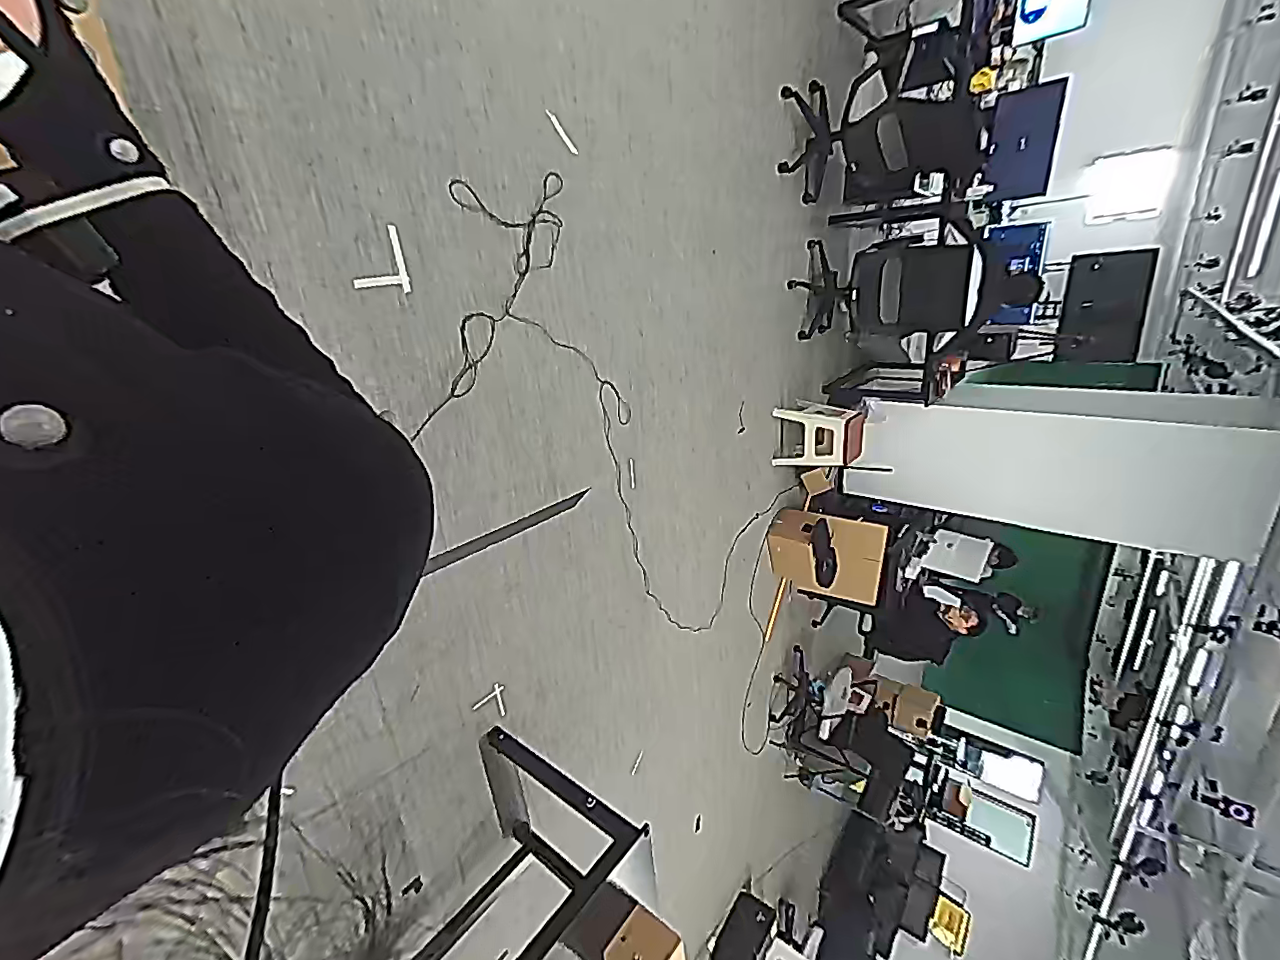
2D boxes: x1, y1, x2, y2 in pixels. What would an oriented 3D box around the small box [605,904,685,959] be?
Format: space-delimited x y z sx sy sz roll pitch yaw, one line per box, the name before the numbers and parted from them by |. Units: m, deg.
small box | 0.013 1.400 1.581 0.168 0.176 0.179 -29 122 -43
